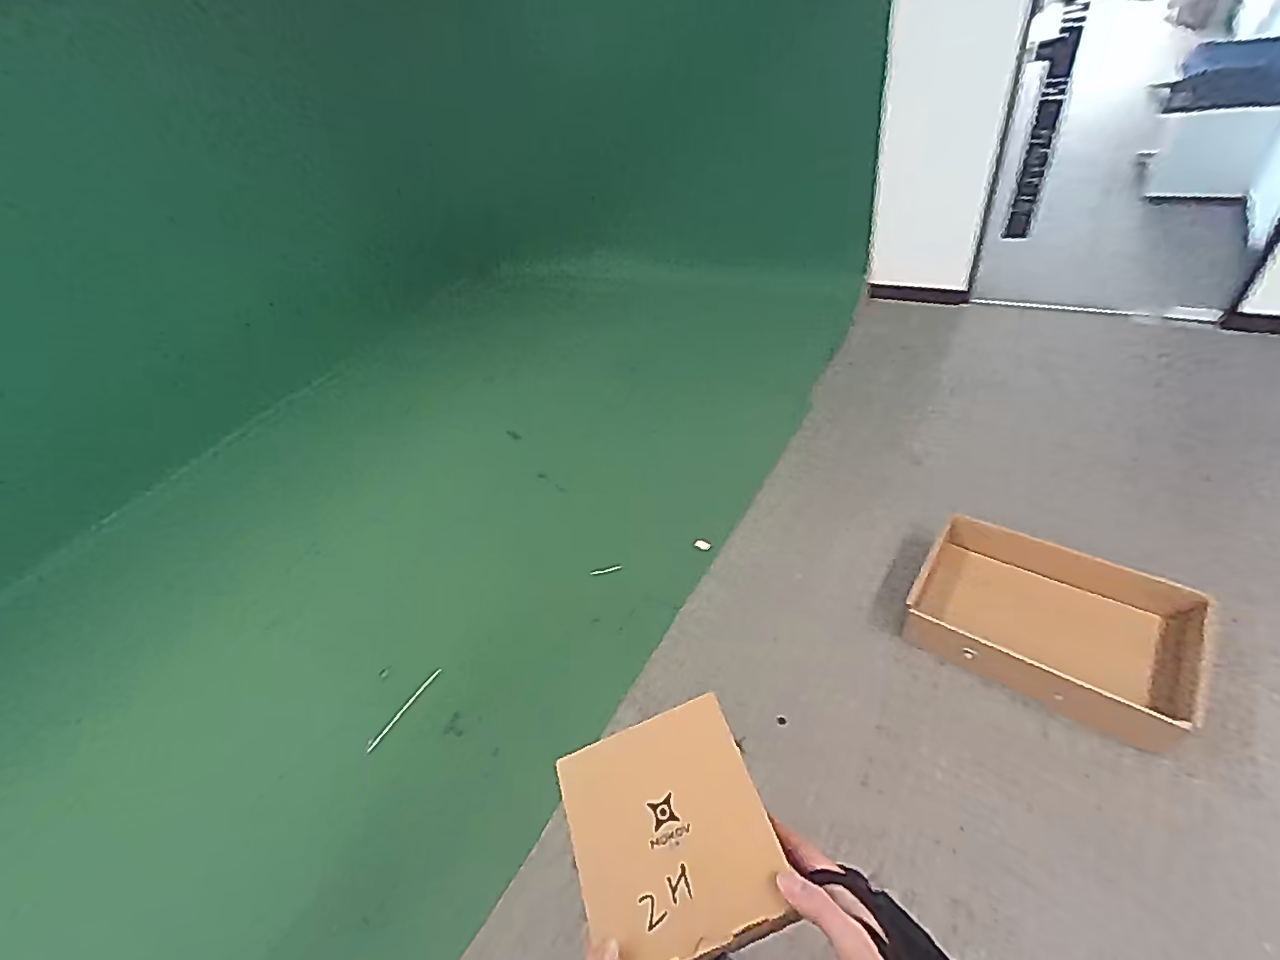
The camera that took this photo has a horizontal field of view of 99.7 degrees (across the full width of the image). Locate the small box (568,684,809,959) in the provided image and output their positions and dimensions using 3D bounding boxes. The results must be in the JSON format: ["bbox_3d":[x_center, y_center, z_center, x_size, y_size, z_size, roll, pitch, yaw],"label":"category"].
[{"bbox_3d":[0.046,0.334,0.520,0.168,0.176,0.179,-22,47,-1],"label":"small box"}]
